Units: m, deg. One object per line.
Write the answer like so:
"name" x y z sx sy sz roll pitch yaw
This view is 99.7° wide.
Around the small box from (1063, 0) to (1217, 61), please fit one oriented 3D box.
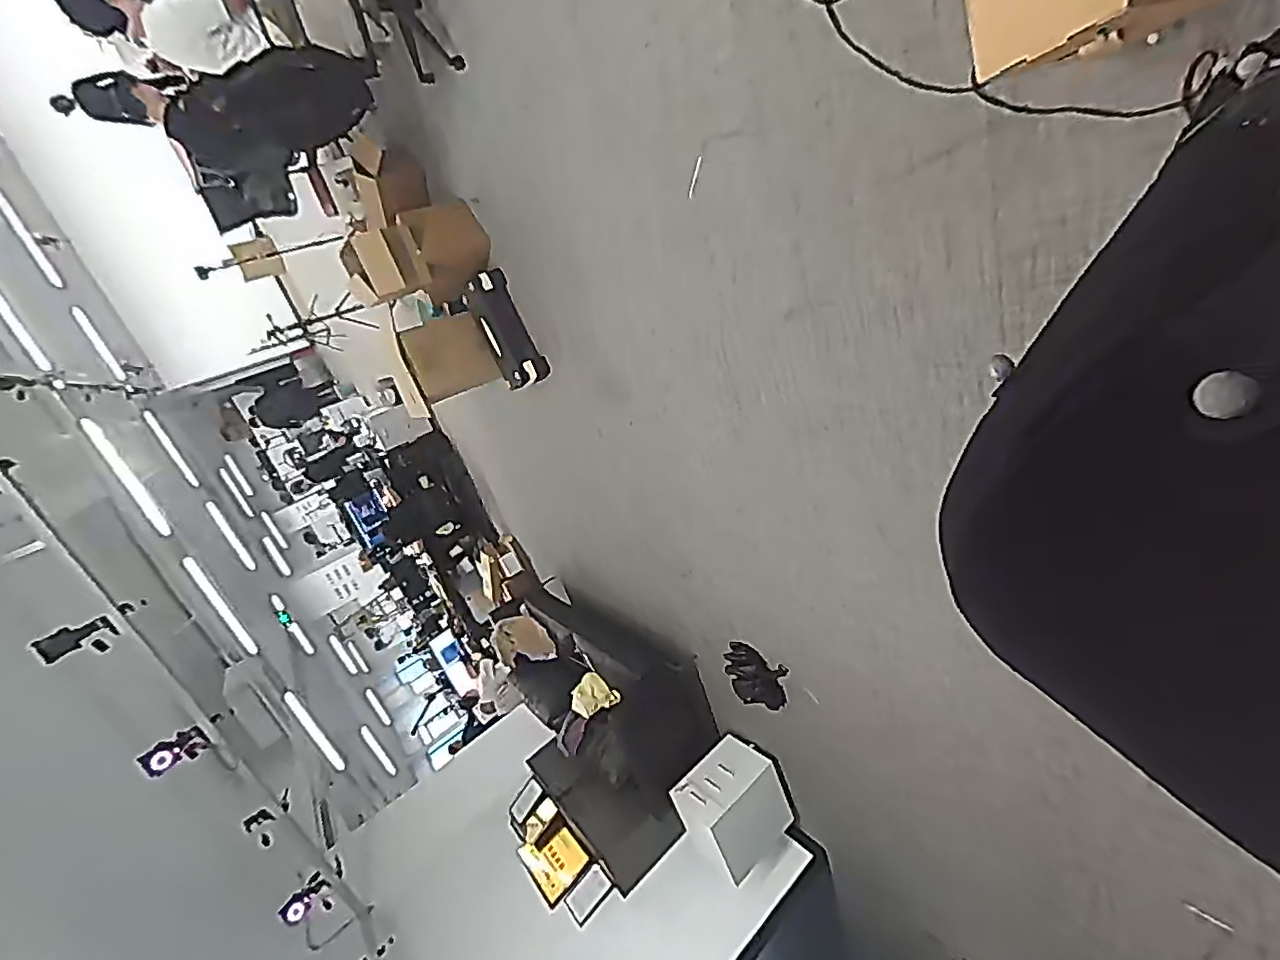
"small box" 0.794 -0.805 0.848 0.168 0.176 0.179 1 119 58
